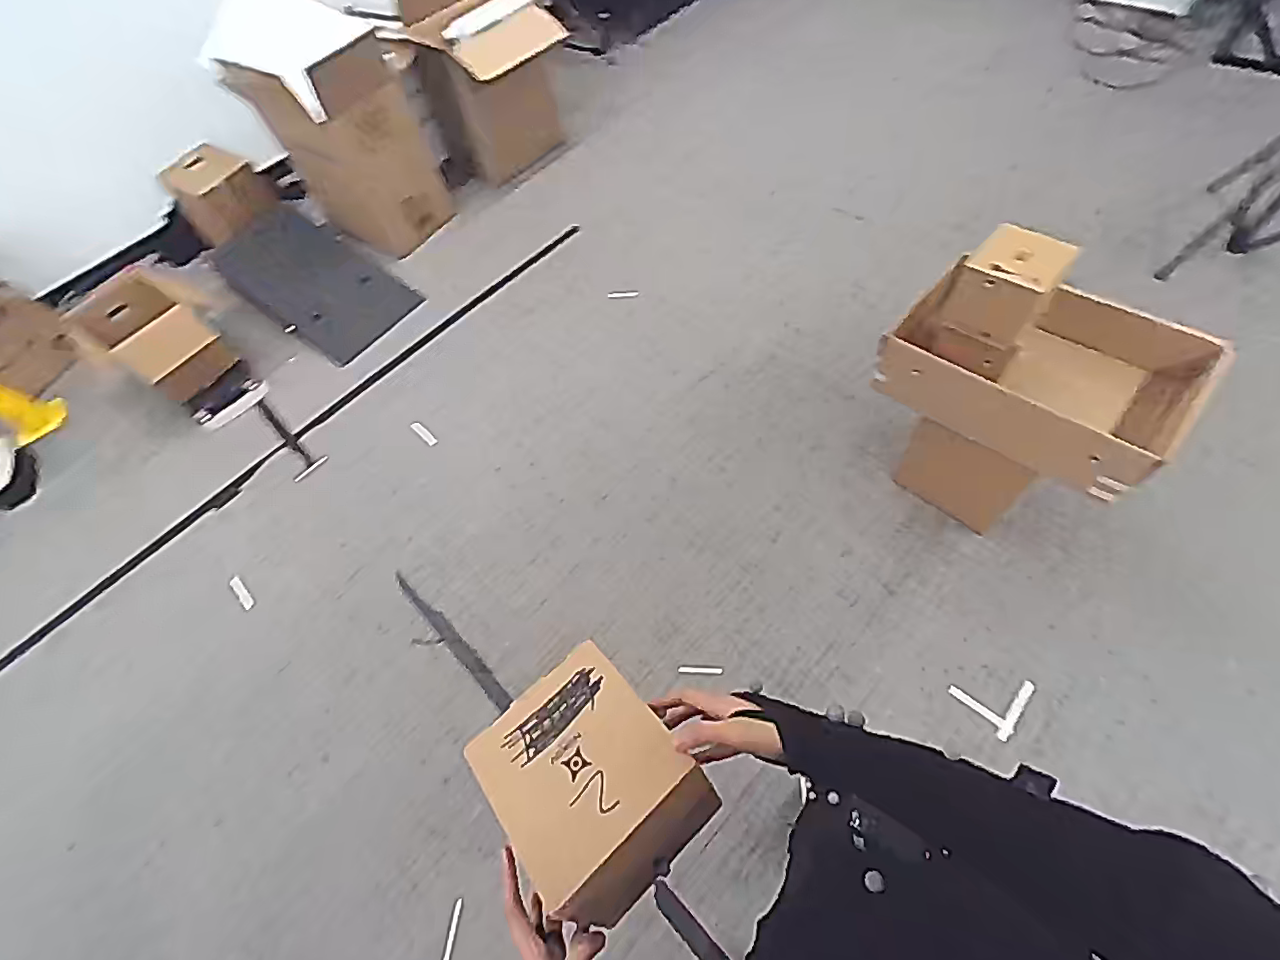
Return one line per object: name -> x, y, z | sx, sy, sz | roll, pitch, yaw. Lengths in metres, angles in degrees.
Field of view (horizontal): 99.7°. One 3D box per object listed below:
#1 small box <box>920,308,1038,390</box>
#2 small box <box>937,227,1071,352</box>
small box -> 0.845, -0.354, 1.363 | 0.179, 0.176, 0.168 | 31, 67, 25
small box -> 0.809, -0.427, 1.220 | 0.168, 0.176, 0.179 | 37, 69, 27
